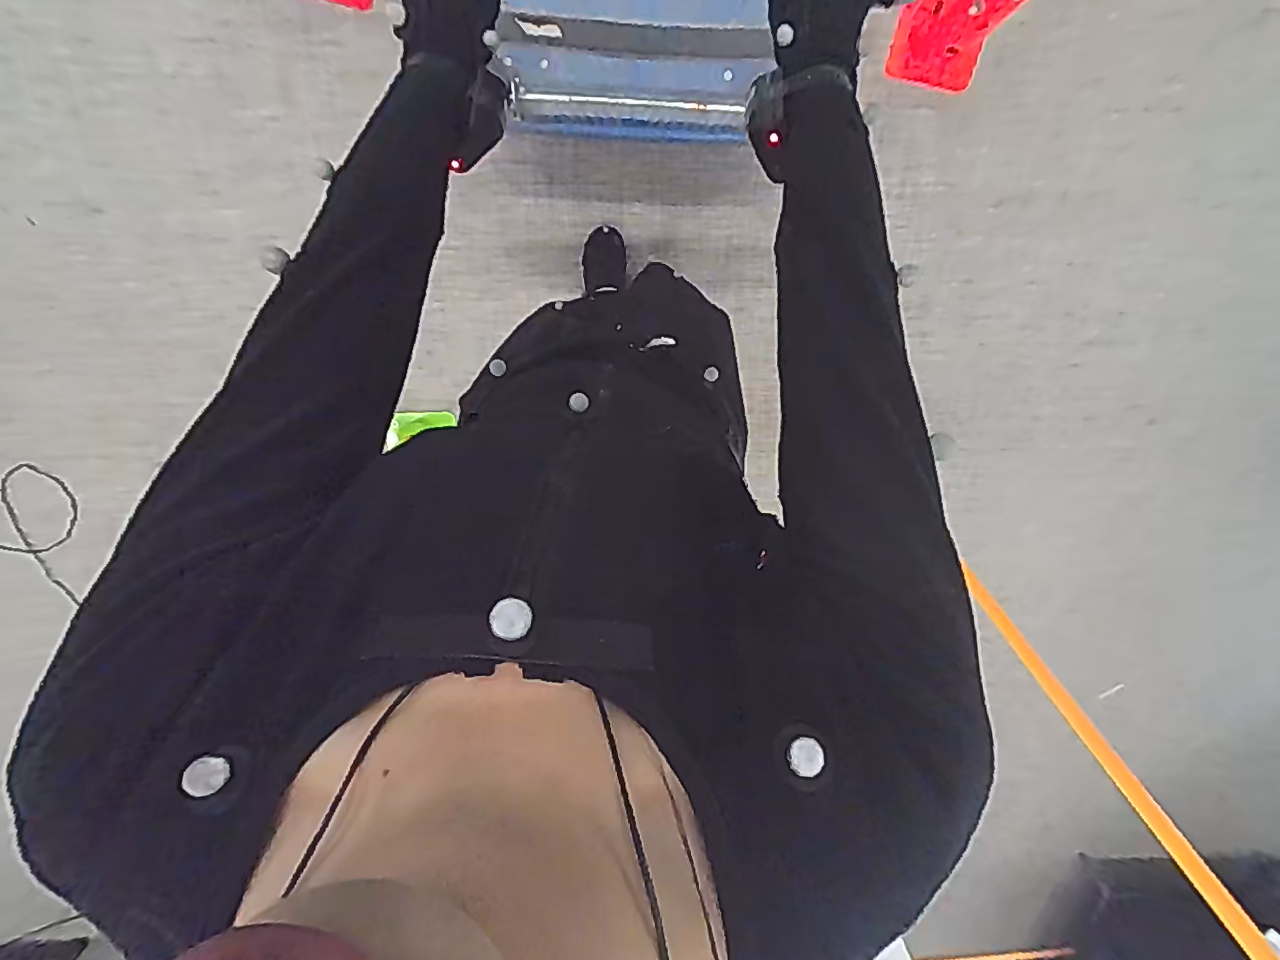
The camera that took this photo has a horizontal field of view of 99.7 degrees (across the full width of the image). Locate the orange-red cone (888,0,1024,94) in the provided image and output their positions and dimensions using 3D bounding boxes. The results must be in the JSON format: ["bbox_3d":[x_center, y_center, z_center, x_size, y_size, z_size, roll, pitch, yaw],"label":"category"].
[{"bbox_3d":[0.652,-0.886,0.999,0.198,0.360,0.199,10,115,-5],"label":"orange-red cone"}]
